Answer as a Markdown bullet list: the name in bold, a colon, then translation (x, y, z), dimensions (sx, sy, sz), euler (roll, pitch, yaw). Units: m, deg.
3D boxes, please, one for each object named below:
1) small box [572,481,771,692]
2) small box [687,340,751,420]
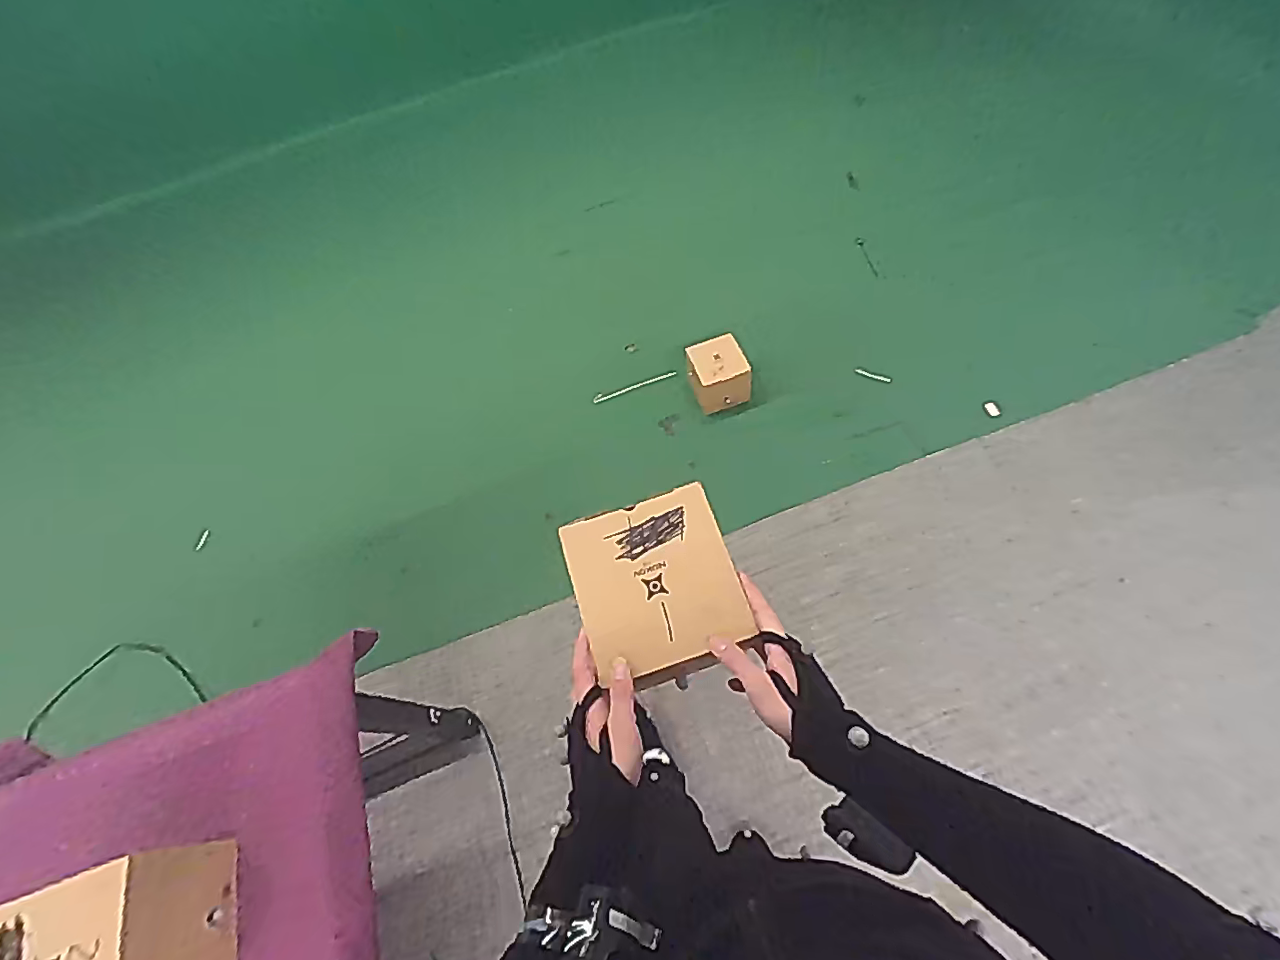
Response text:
- **small box**: translation (0.032, 0.130, 0.625), dimensions (0.168, 0.176, 0.179), euler (-18, 65, -2)
- **small box**: translation (0.264, -0.337, 1.839), dimensions (0.168, 0.176, 0.179), euler (-19, 61, -3)
